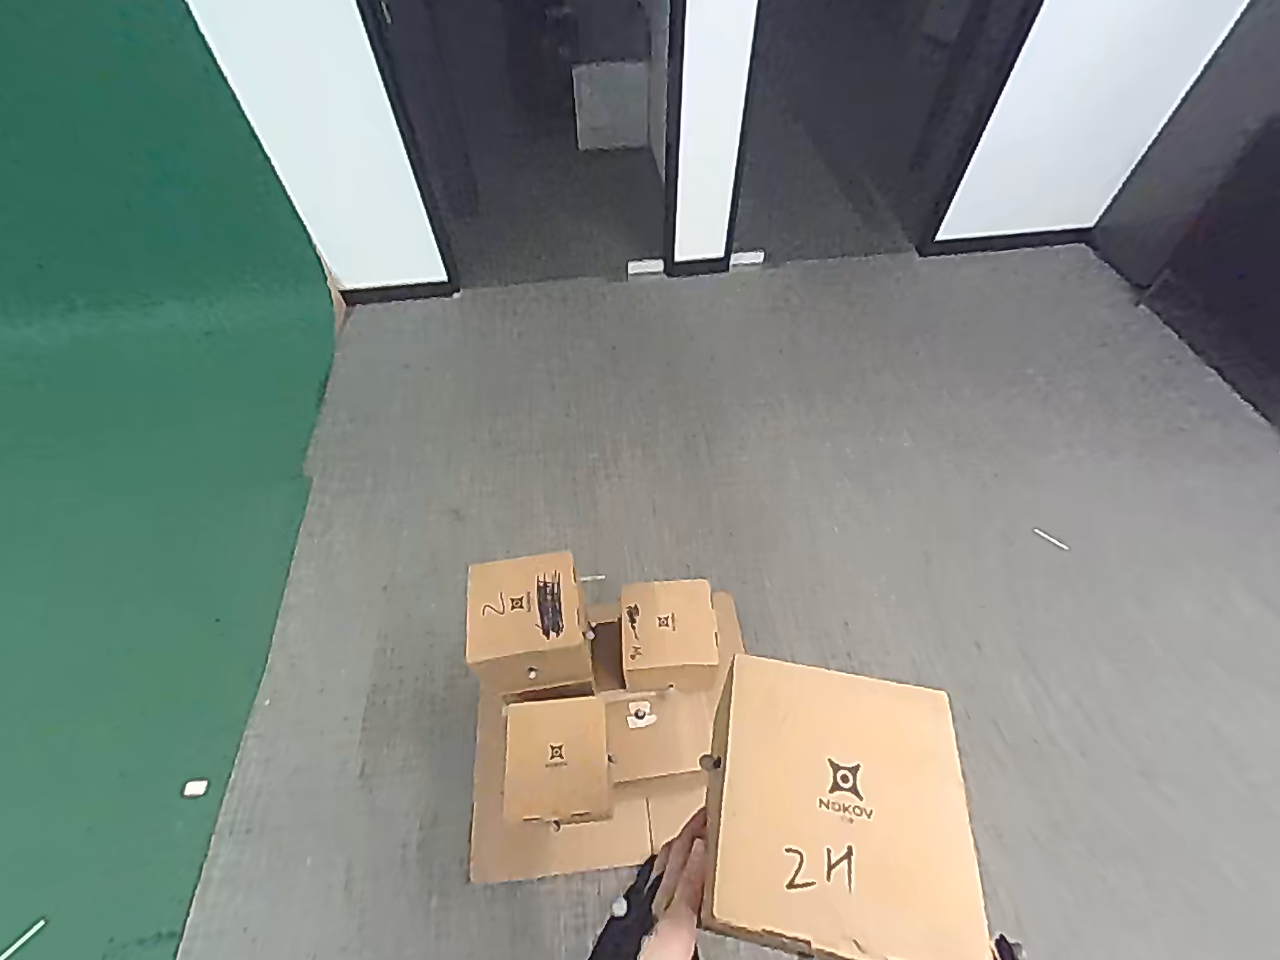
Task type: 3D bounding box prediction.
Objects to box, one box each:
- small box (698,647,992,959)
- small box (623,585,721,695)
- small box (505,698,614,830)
[{"bbox_3d":[0.142,0.265,0.436,0.168,0.176,0.179,9,49,8],"label":"small box"},{"bbox_3d":[0.057,0.317,1.062,0.179,0.176,0.168,-3,55,1],"label":"small box"},{"bbox_3d":[-0.132,0.495,0.937,0.168,0.176,0.179,-4,56,-3],"label":"small box"}]
